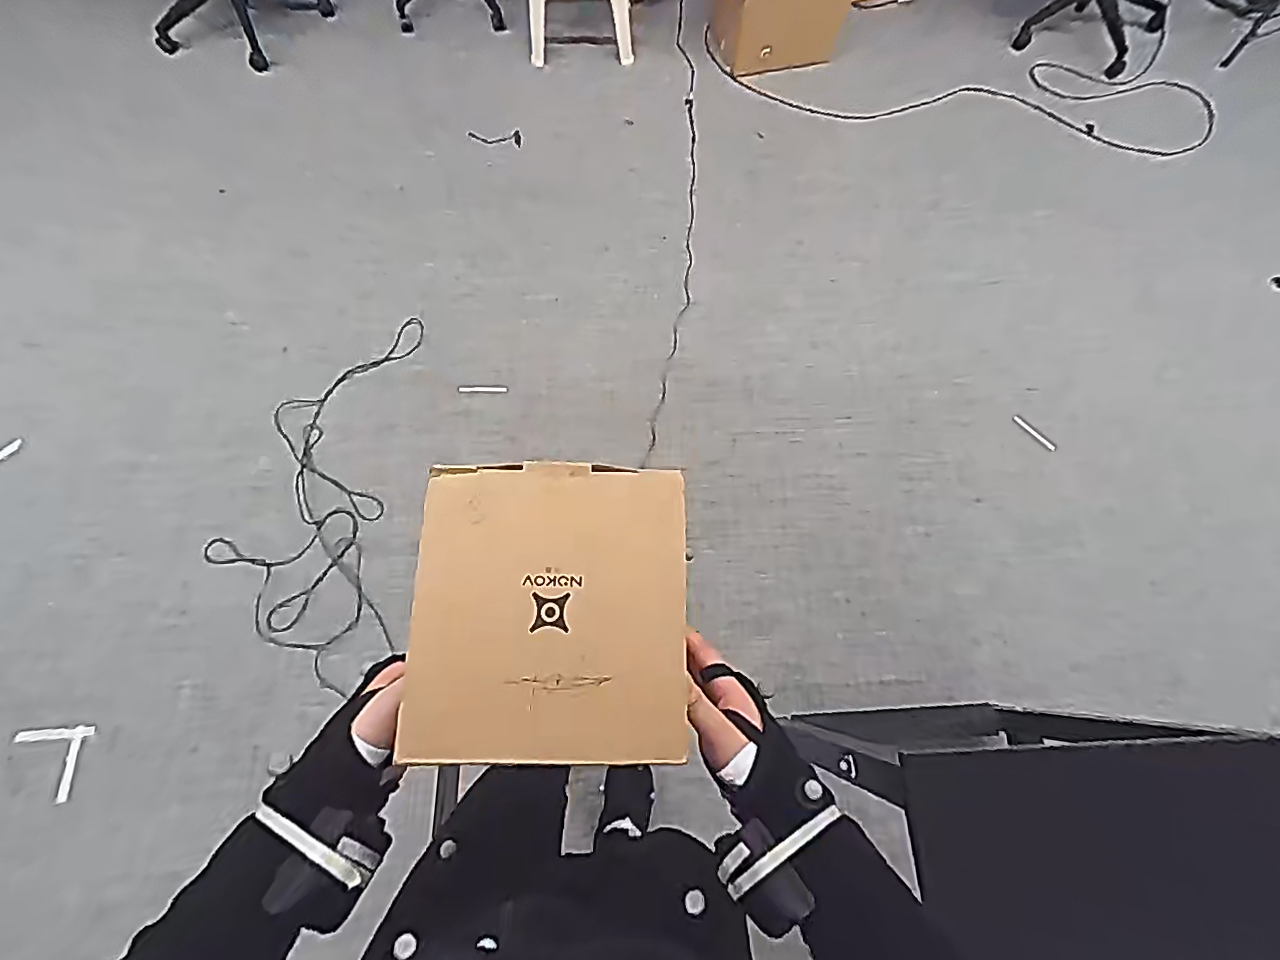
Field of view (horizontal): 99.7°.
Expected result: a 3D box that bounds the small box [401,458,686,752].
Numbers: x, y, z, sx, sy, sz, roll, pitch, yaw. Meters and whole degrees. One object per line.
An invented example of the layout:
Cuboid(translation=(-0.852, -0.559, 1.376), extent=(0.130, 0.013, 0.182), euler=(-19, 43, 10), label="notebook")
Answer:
Cuboid(translation=(-0.057, 0.094, 0.409), extent=(0.168, 0.176, 0.179), euler=(2, 74, -2), label="small box")
